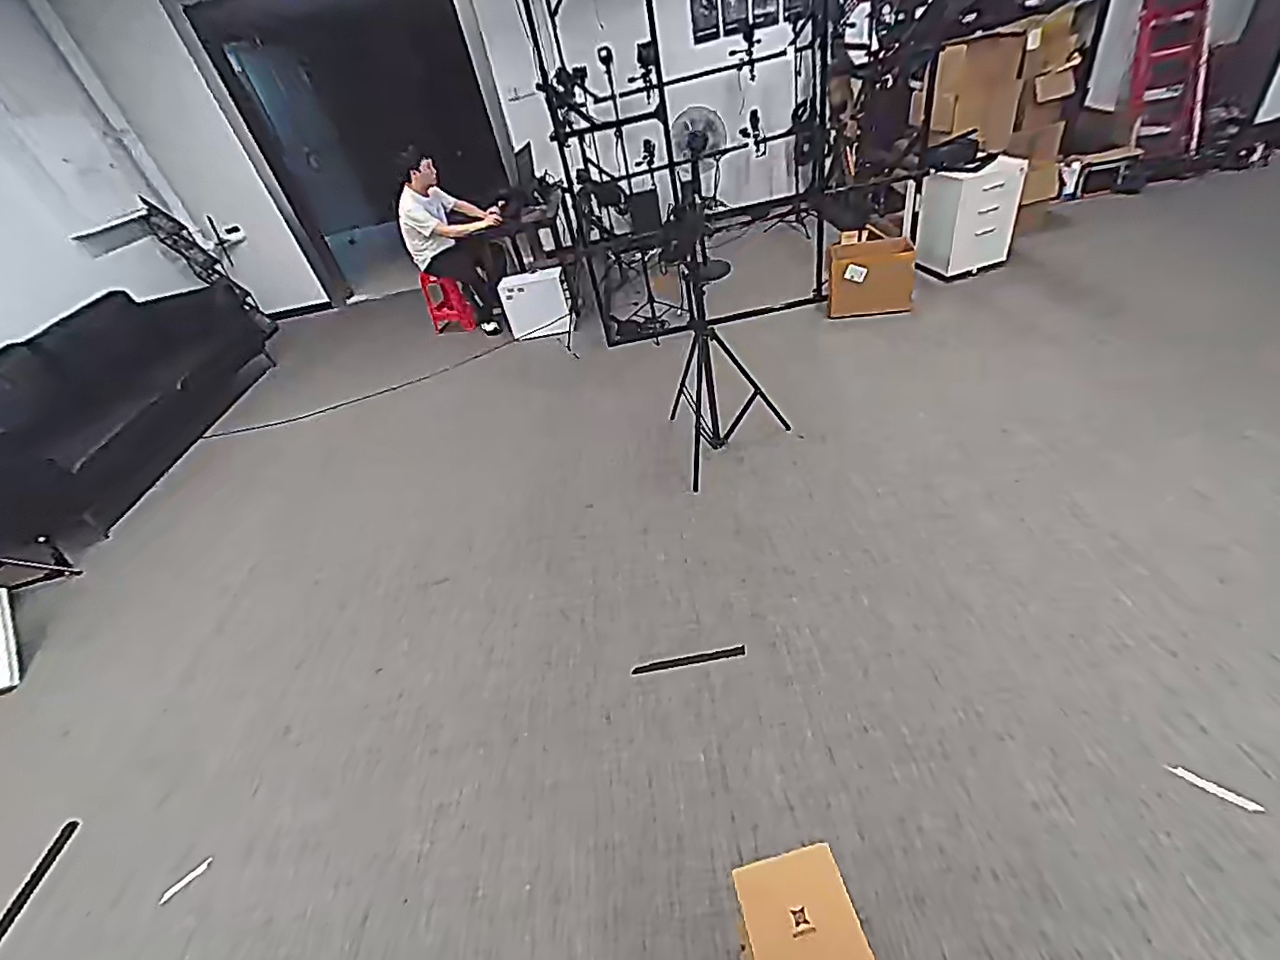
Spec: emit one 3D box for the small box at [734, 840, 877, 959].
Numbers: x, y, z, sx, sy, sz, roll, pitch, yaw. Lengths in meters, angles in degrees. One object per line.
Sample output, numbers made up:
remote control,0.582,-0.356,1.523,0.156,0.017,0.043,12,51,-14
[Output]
small box,0.256,0.716,0.856,0.168,0.176,0.179,-16,39,-2
